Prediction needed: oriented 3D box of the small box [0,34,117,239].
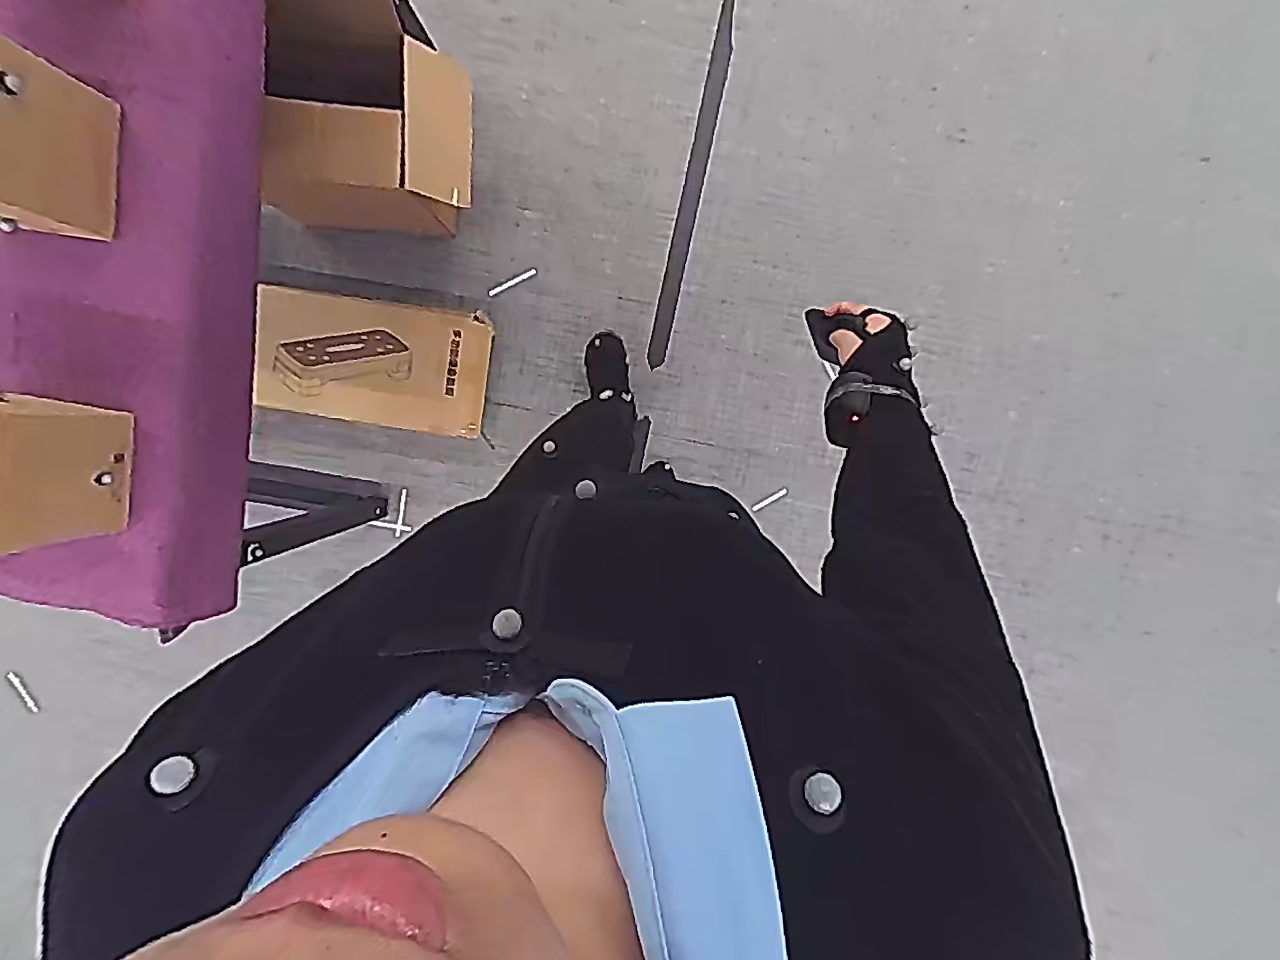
[{"bbox_3d":[-0.767,-0.407,0.627,0.168,0.176,0.179,9,96,2],"label":"small box"}]
